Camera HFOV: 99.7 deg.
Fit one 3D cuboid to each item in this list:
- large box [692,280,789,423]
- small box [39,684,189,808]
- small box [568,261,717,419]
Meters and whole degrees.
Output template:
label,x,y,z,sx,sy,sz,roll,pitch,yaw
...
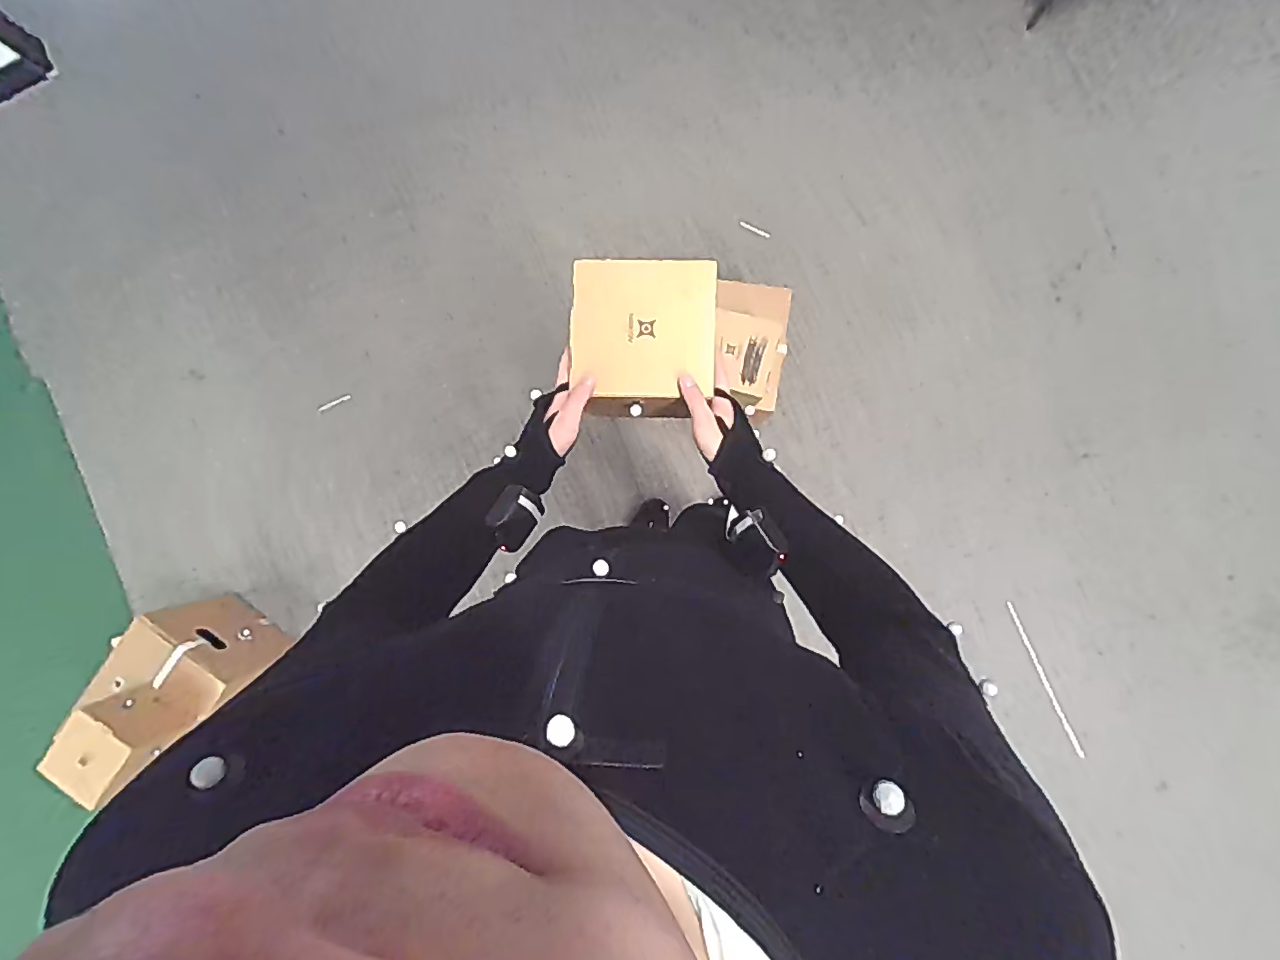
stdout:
label,x,y,z,sx,sy,sz,roll,pitch,yaw
large box,0.165,-0.345,1.485,0.408,0.320,0.320,8,88,5
small box,-1.253,0.631,1.308,0.168,0.176,0.179,35,92,3
small box,0.006,-0.175,0.719,0.179,0.176,0.168,1,88,4
